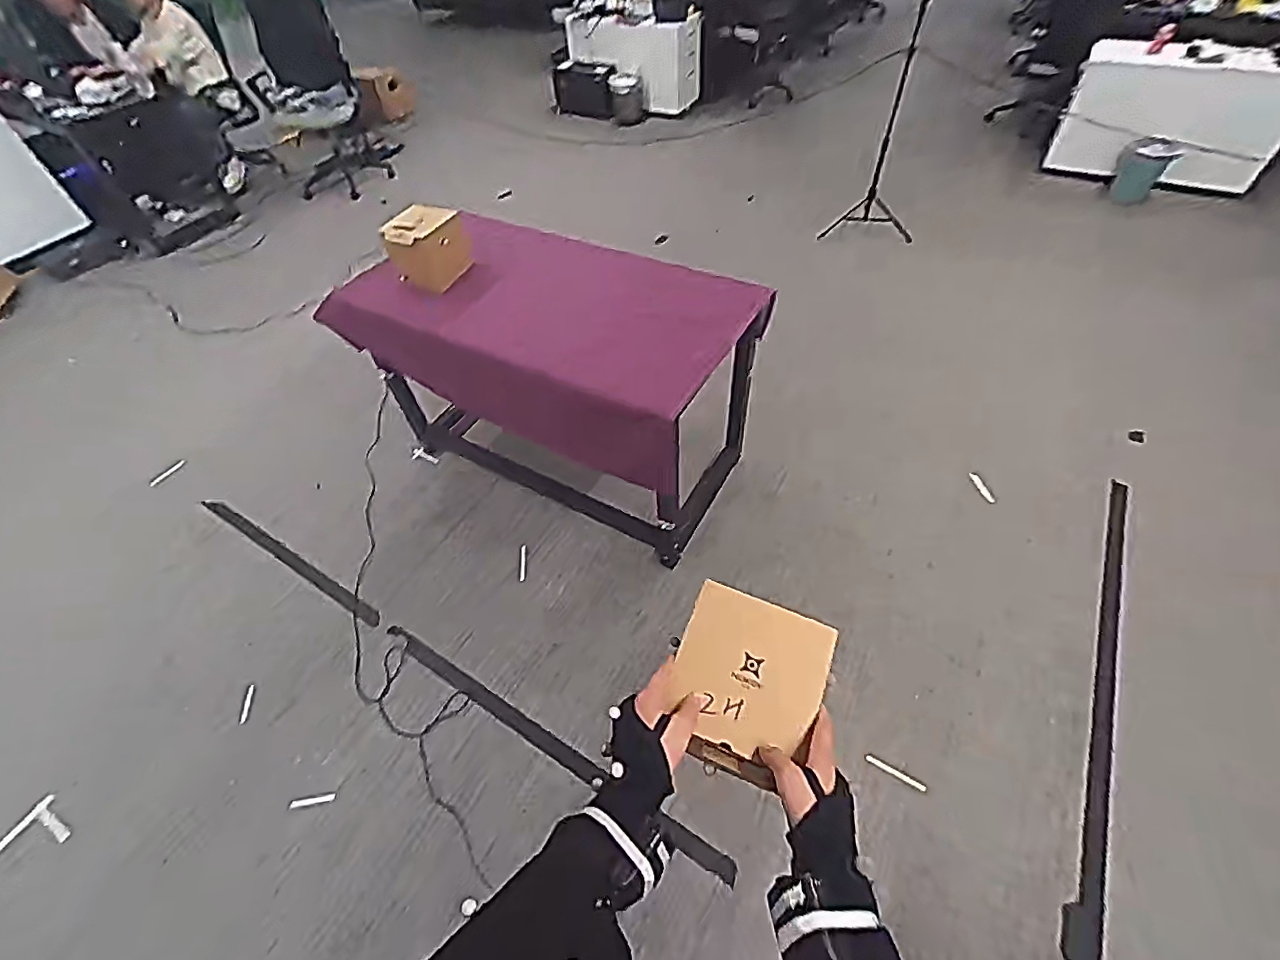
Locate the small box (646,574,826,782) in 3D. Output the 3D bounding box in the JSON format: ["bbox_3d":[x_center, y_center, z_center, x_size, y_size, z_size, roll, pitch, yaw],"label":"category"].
[{"bbox_3d":[0.113,0.251,0.677,0.168,0.176,0.179,19,60,13],"label":"small box"}]

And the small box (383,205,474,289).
[{"bbox_3d":[-0.635,-0.709,1.650,0.168,0.176,0.179,16,54,16],"label":"small box"}]
